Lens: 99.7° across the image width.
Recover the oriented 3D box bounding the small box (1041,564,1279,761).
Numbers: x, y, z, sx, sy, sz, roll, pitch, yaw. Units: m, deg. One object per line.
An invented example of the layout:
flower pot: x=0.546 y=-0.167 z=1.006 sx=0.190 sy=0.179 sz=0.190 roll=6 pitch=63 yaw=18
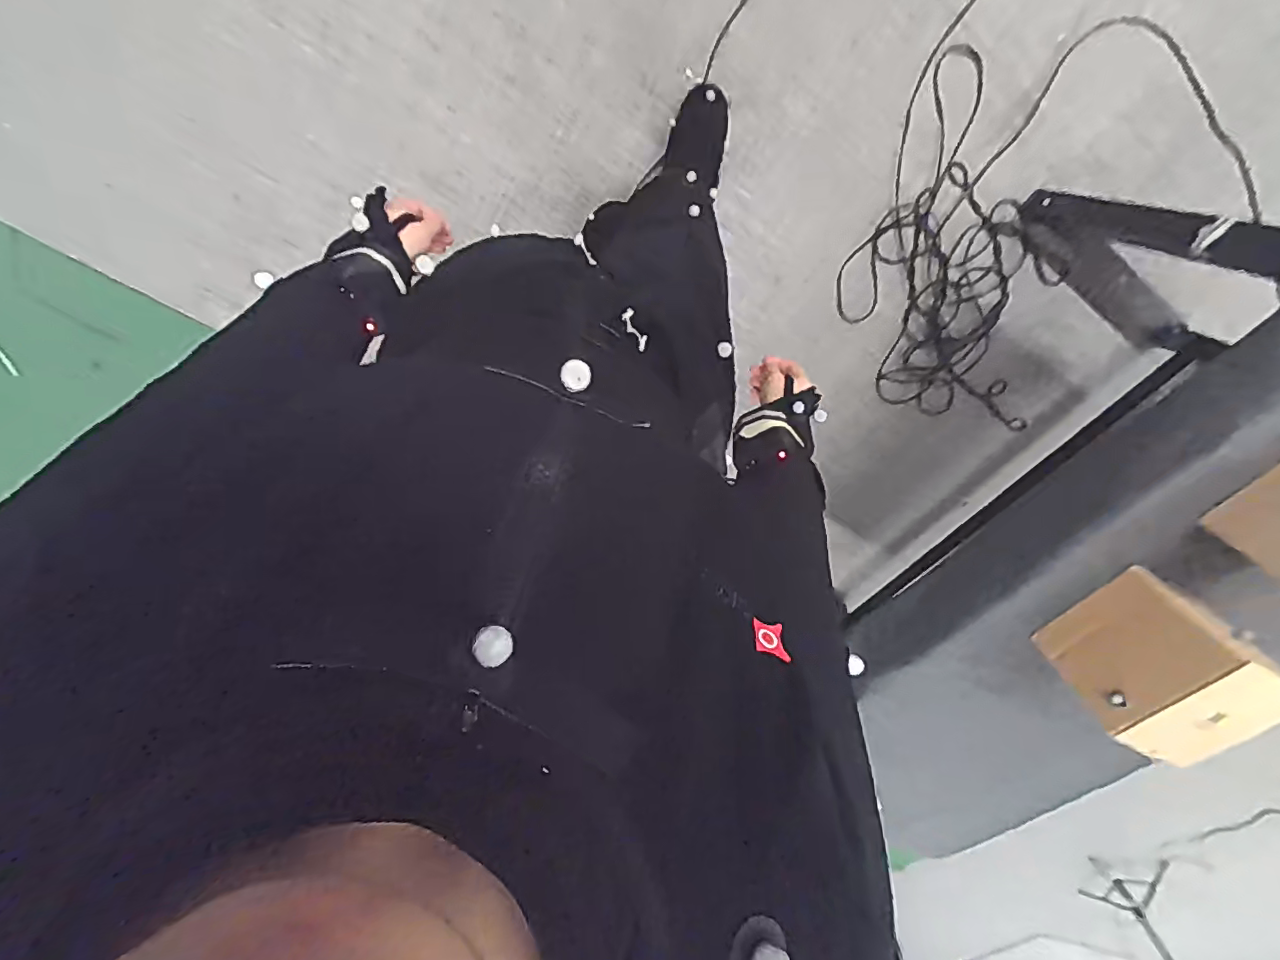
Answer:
small box: x=0.715 y=0.245 z=0.741 sx=0.168 sy=0.176 sz=0.179 roll=24 pitch=120 yaw=-17
